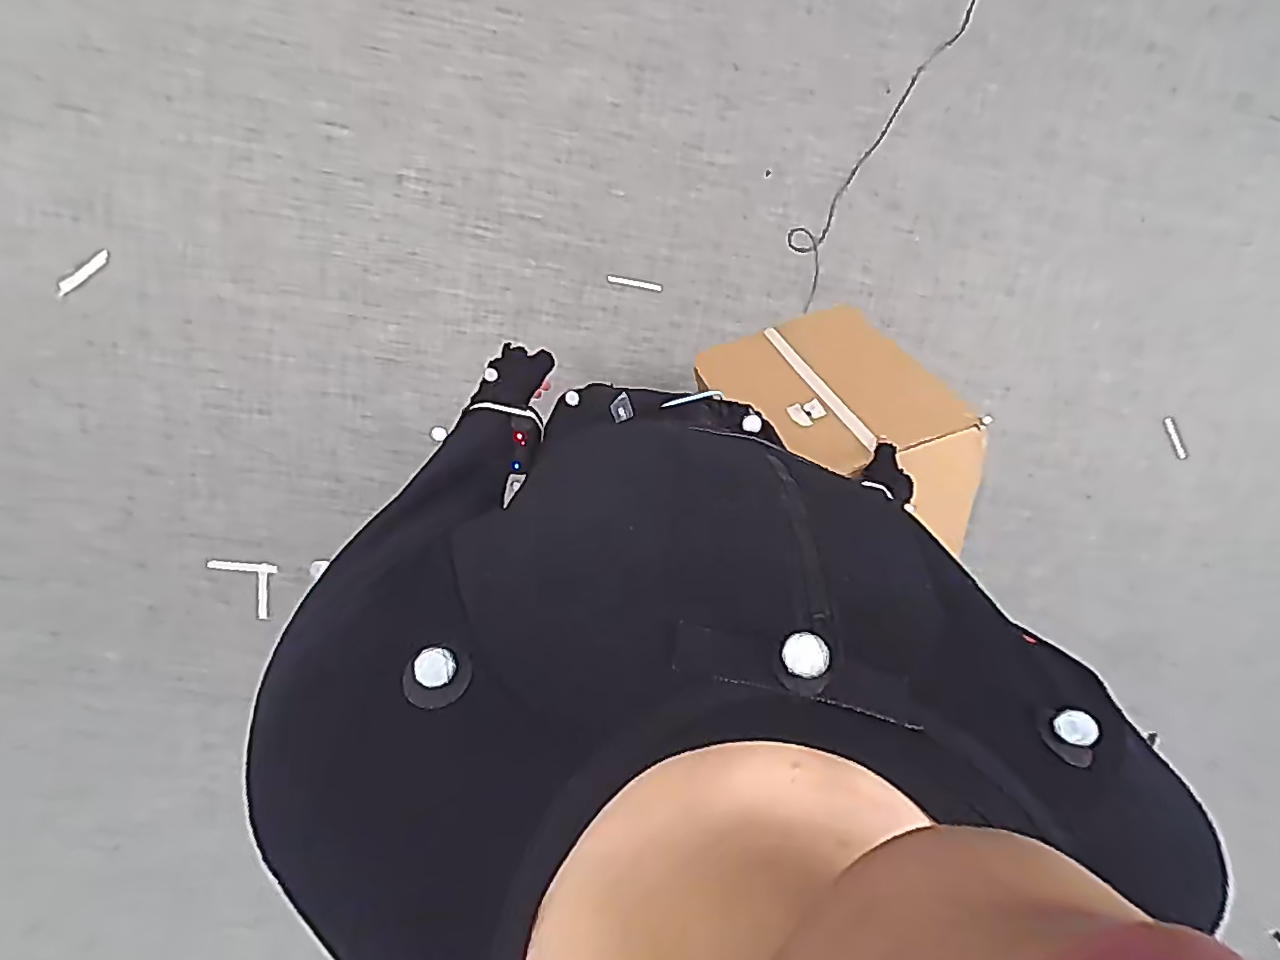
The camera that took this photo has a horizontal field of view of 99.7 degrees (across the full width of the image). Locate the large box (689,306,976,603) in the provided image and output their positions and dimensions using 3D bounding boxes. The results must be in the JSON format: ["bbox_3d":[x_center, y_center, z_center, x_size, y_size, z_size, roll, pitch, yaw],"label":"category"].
[{"bbox_3d":[0.316,-0.057,0.997,0.320,0.408,0.320,-20,134,1],"label":"large box"}]
